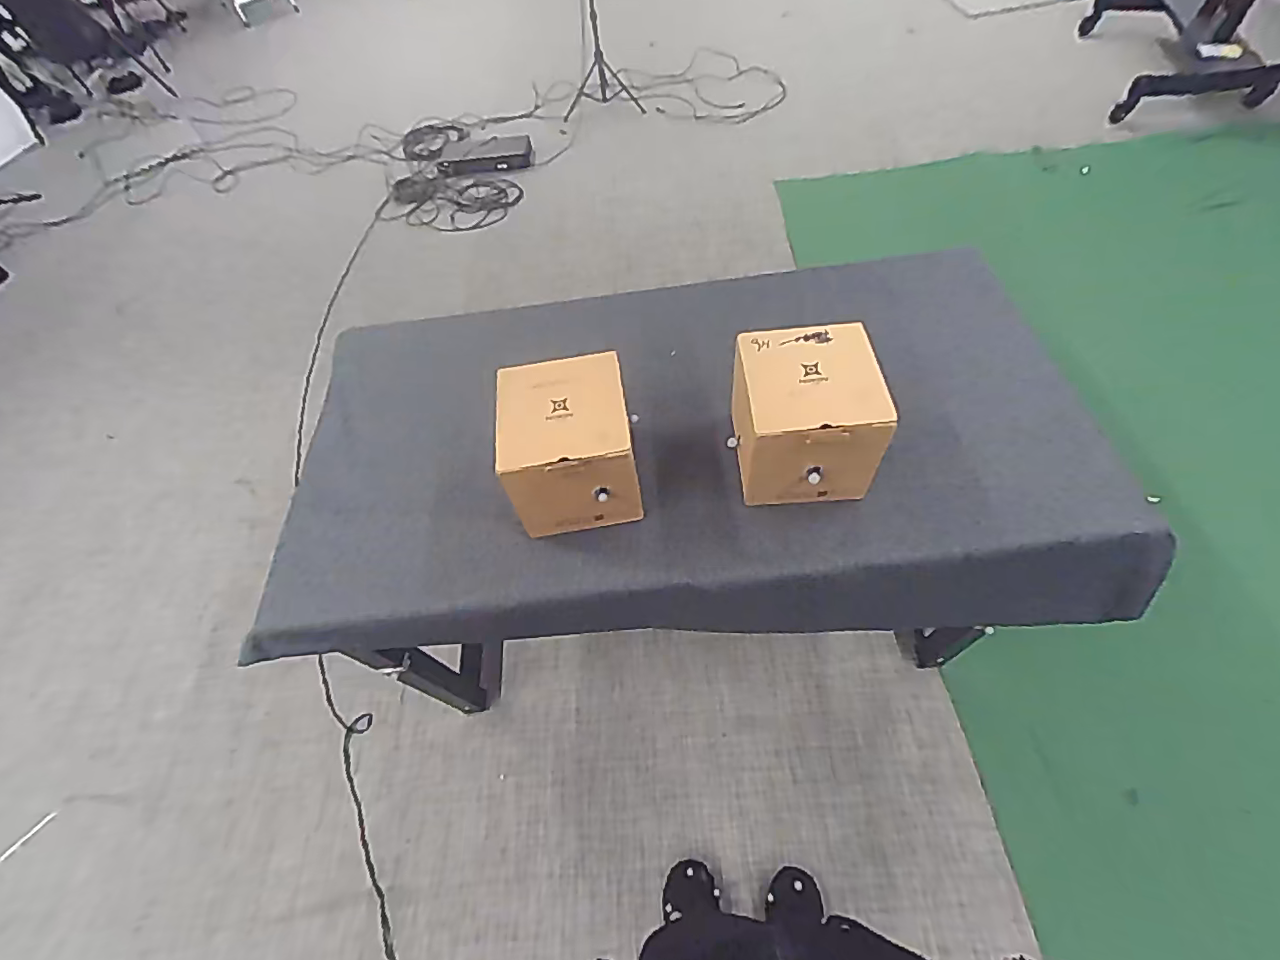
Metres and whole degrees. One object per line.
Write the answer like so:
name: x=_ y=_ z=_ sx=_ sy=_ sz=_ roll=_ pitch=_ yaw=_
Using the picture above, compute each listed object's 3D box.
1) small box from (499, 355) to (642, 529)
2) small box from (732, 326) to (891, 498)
small box: x=-0.093 y=-0.045 z=0.760 sx=0.168 sy=0.176 sz=0.179 roll=-9 pitch=54 yaw=-2
small box: x=0.221 y=-0.085 z=0.749 sx=0.168 sy=0.176 sz=0.179 roll=-4 pitch=57 yaw=3
